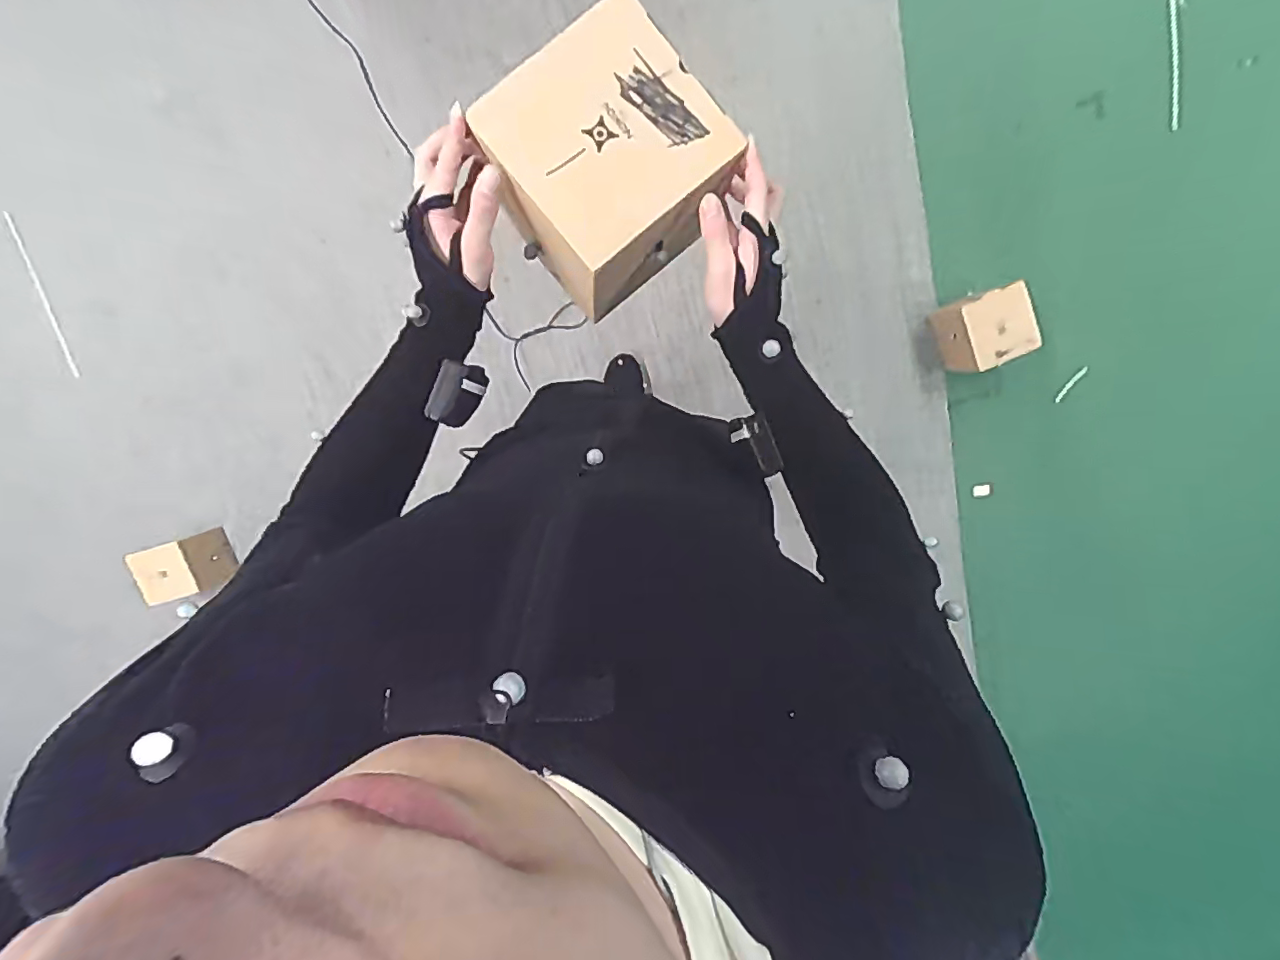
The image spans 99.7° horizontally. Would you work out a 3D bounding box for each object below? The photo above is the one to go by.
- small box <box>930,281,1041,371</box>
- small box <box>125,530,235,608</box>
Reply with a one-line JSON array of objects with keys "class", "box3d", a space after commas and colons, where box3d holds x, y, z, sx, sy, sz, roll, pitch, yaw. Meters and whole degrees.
[{"class": "small box", "box3d": [0.907, -0.401, 1.436, 0.168, 0.176, 0.179, -23, 100, 6]}, {"class": "small box", "box3d": [-1.394, 0.265, 1.657, 0.179, 0.176, 0.168, -16, 100, 5]}]
